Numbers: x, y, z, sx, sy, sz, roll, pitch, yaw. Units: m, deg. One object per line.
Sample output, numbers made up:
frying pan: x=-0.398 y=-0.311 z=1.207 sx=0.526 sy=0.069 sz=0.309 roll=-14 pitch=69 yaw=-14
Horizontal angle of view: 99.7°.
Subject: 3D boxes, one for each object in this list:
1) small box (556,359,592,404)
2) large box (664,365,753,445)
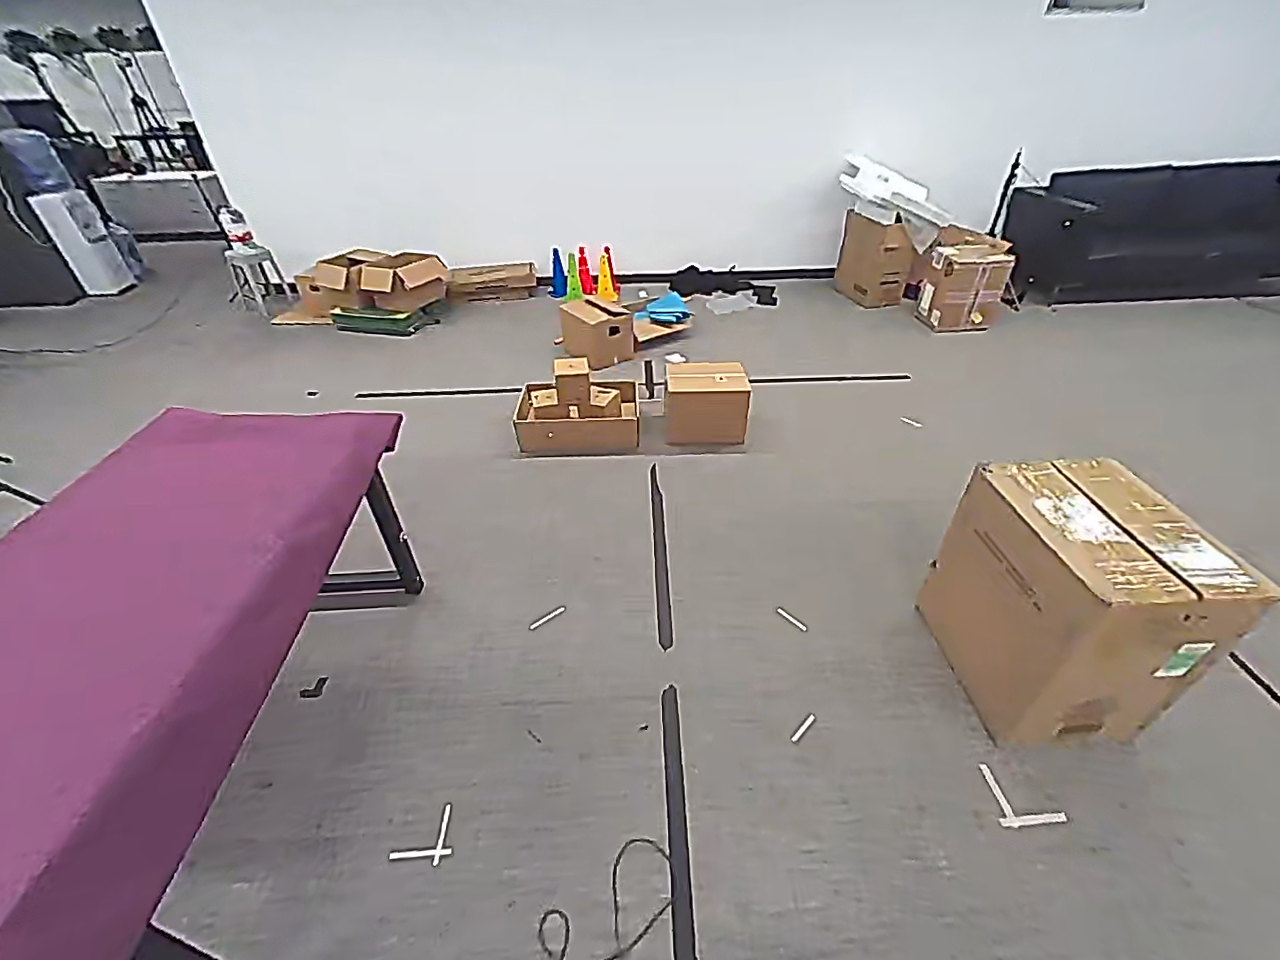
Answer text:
small box: x=-0.330 y=-0.488 z=2.702 sx=0.168 sy=0.176 sz=0.179 roll=-5 pitch=36 yaw=-7
large box: x=0.340 y=-0.389 z=2.796 sx=0.408 sy=0.320 sz=0.320 roll=-1 pitch=38 yaw=-1
